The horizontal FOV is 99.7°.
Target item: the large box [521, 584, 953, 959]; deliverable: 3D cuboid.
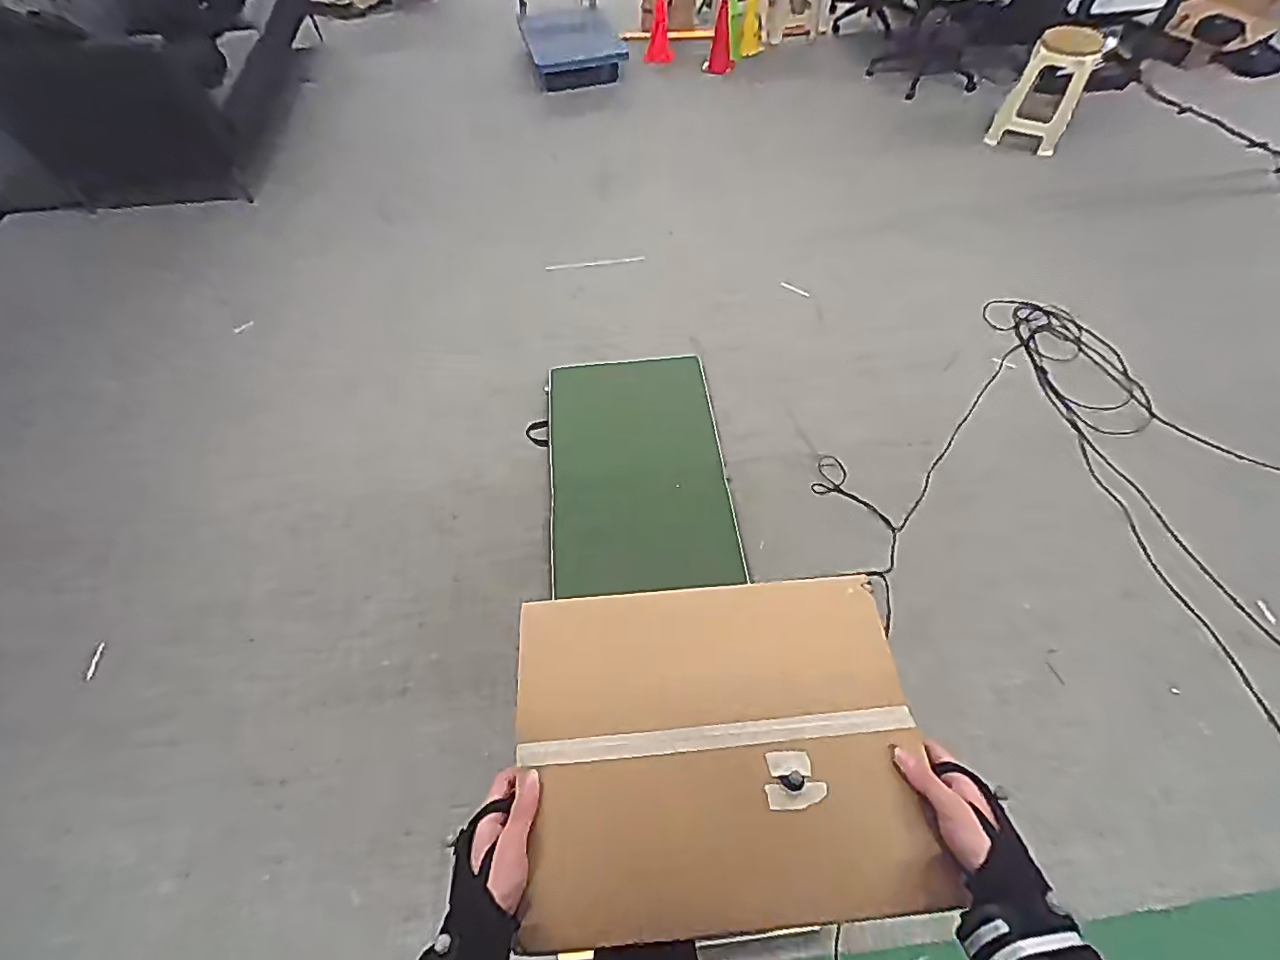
[{"bbox_3d":[0.075,0.350,0.685,0.408,0.320,0.320,-5,59,-3],"label":"large box"}]
